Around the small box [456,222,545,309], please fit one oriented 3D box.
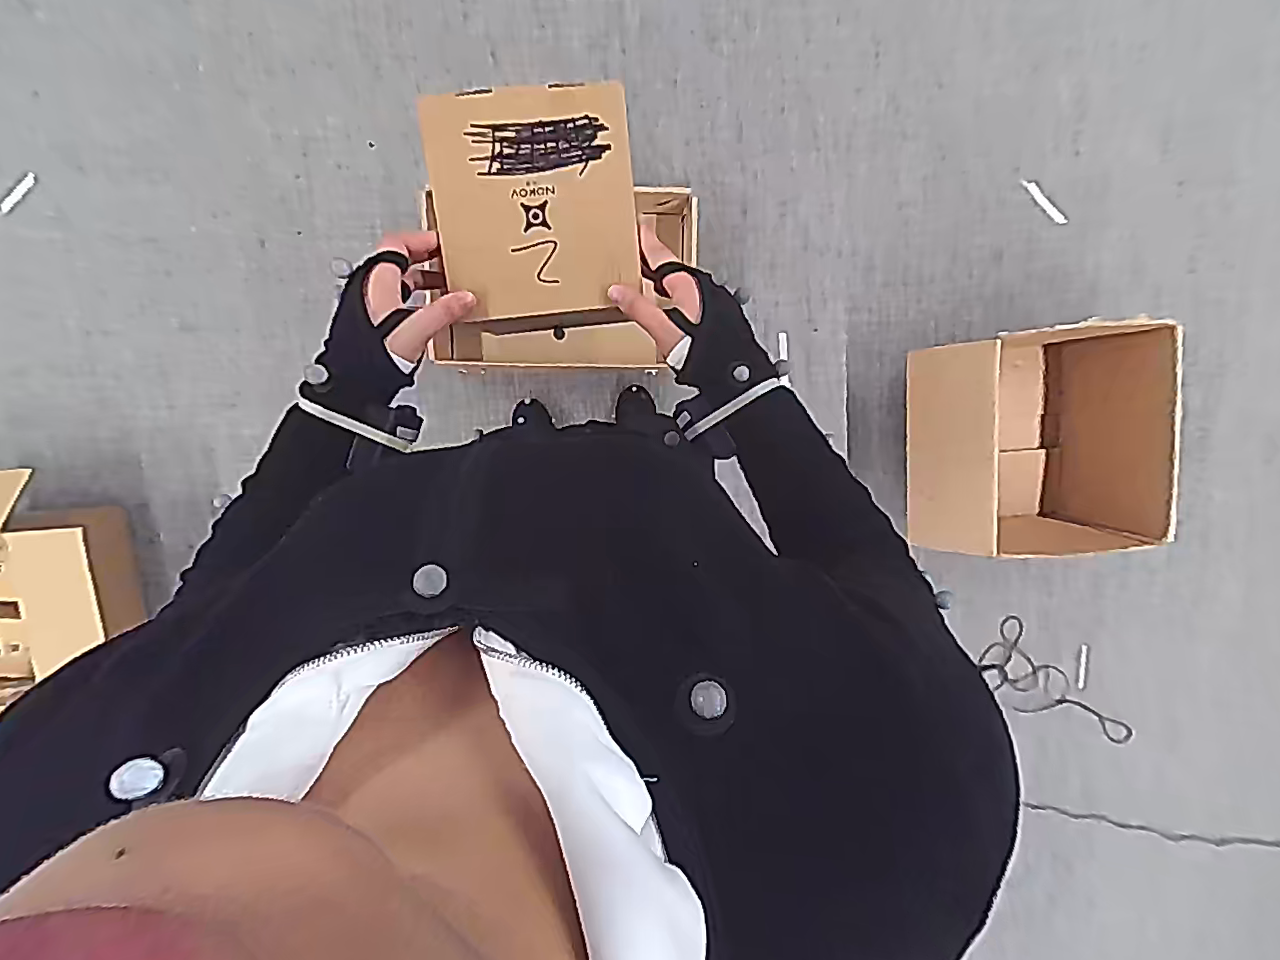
[{"bbox_3d":[-0.325,-0.502,1.288,0.179,0.176,0.168,0,101,-4],"label":"small box"}]
